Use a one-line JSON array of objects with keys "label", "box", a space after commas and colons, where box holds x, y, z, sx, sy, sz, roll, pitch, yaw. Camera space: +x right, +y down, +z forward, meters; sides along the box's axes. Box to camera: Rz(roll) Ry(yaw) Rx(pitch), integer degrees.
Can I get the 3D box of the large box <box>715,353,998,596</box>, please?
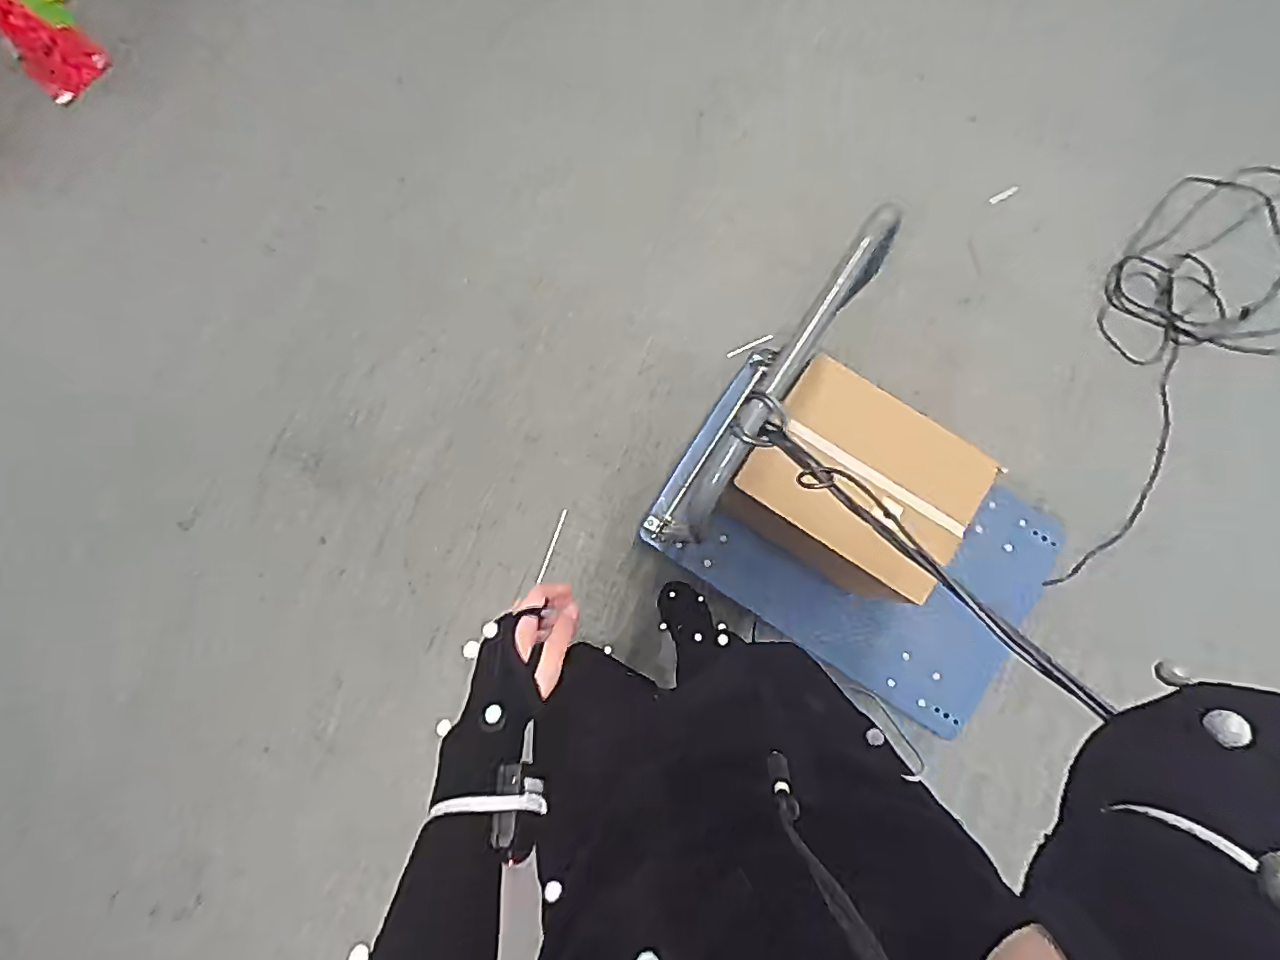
[{"label": "large box", "box": [0.423, 0.003, 1.153, 0.408, 0.320, 0.320, 33, 83, 3]}]
